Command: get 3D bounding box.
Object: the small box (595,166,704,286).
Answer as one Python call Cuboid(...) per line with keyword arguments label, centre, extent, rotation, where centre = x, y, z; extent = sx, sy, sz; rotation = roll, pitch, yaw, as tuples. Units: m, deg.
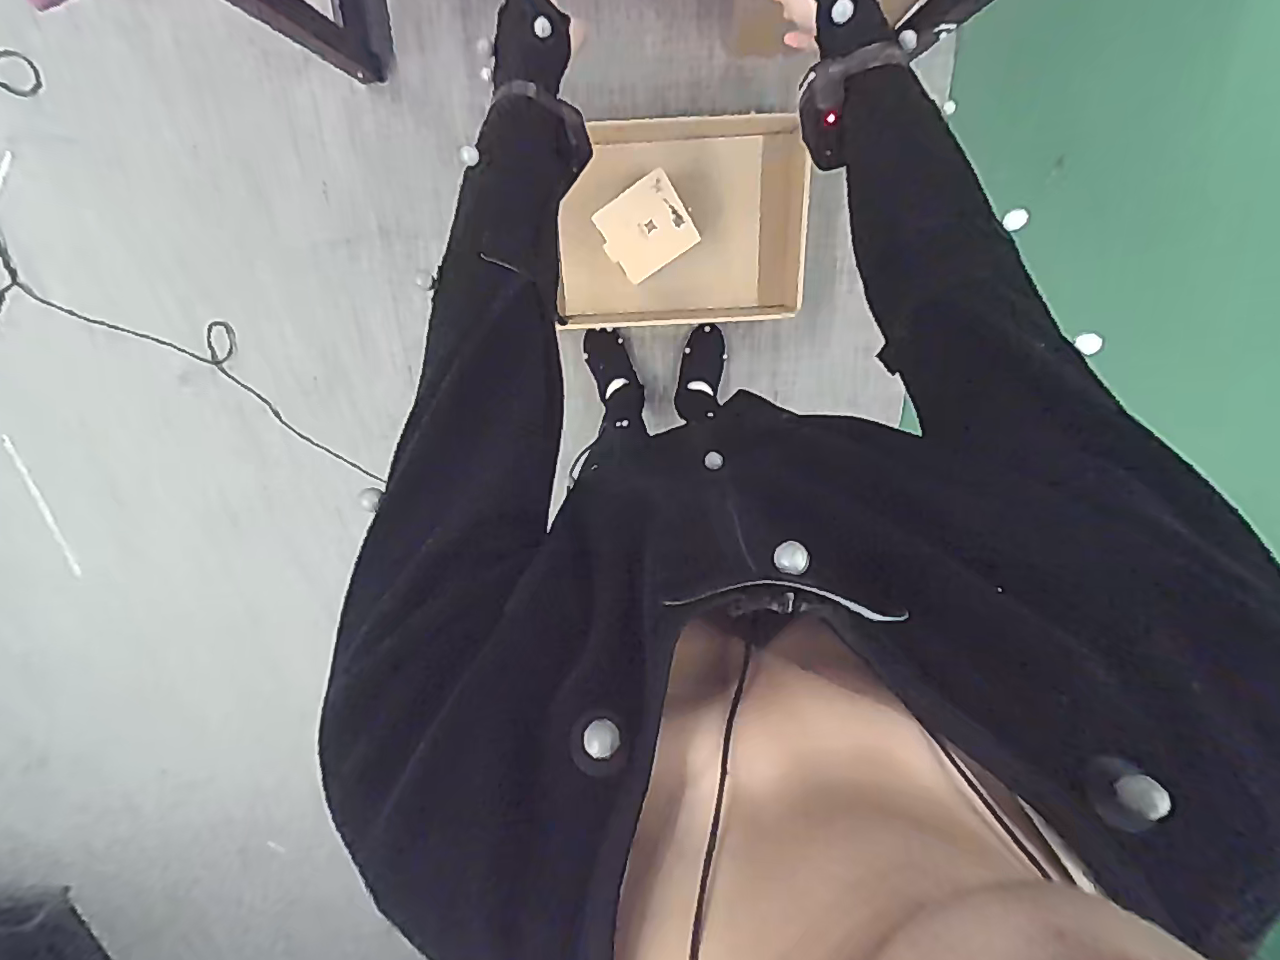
Cuboid(label="small box", centre=(0.025, -0.548, 1.189), extent=(0.179, 0.176, 0.168), rotation=(-30, 108, 13))
